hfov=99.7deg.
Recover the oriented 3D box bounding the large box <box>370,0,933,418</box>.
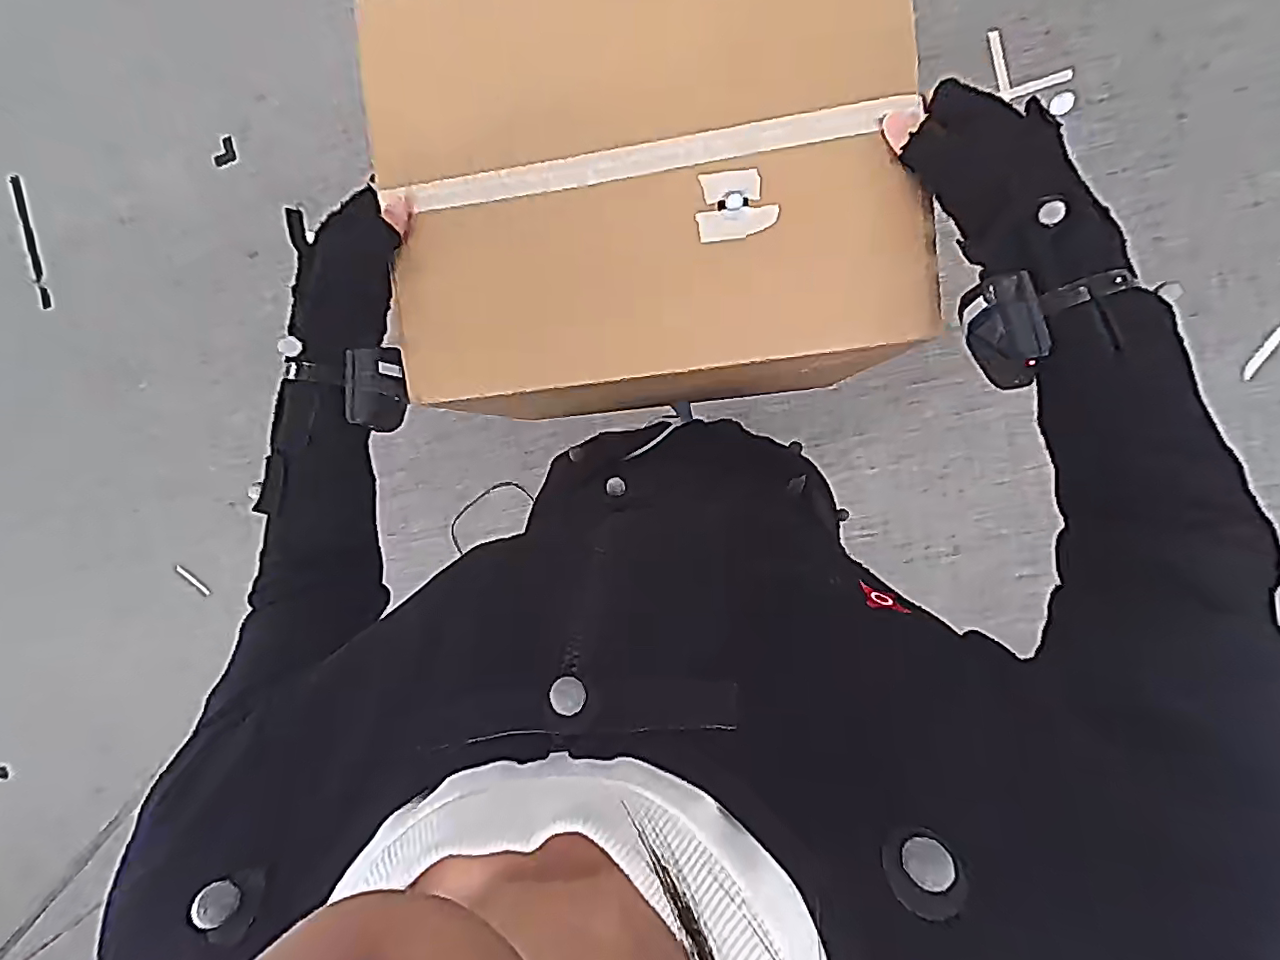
[{"bbox_3d":[0.013,-0.252,0.559,0.408,0.320,0.320,-7,94,5],"label":"large box"}]
